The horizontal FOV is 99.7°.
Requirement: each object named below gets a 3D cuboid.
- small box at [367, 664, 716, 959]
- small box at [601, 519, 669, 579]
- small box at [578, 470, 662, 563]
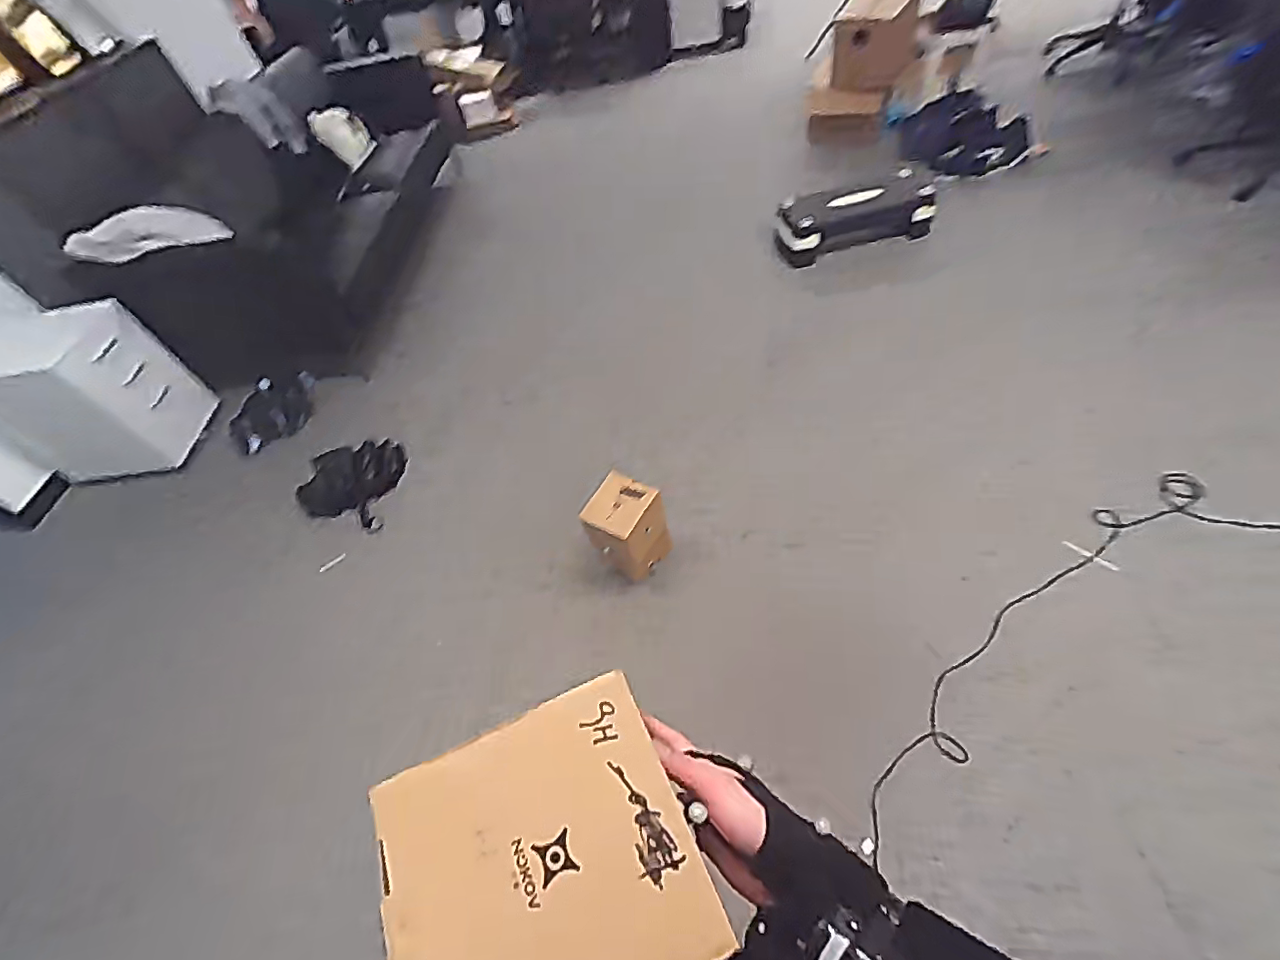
[{"bbox_3d":[-0.060,0.260,0.389,0.179,0.176,0.168,-22,62,-9],"label":"small box"},{"bbox_3d":[-0.027,0.183,1.710,0.179,0.176,0.168,35,68,30],"label":"small box"},{"bbox_3d":[-0.049,0.108,1.562,0.168,0.176,0.179,22,62,26],"label":"small box"}]
